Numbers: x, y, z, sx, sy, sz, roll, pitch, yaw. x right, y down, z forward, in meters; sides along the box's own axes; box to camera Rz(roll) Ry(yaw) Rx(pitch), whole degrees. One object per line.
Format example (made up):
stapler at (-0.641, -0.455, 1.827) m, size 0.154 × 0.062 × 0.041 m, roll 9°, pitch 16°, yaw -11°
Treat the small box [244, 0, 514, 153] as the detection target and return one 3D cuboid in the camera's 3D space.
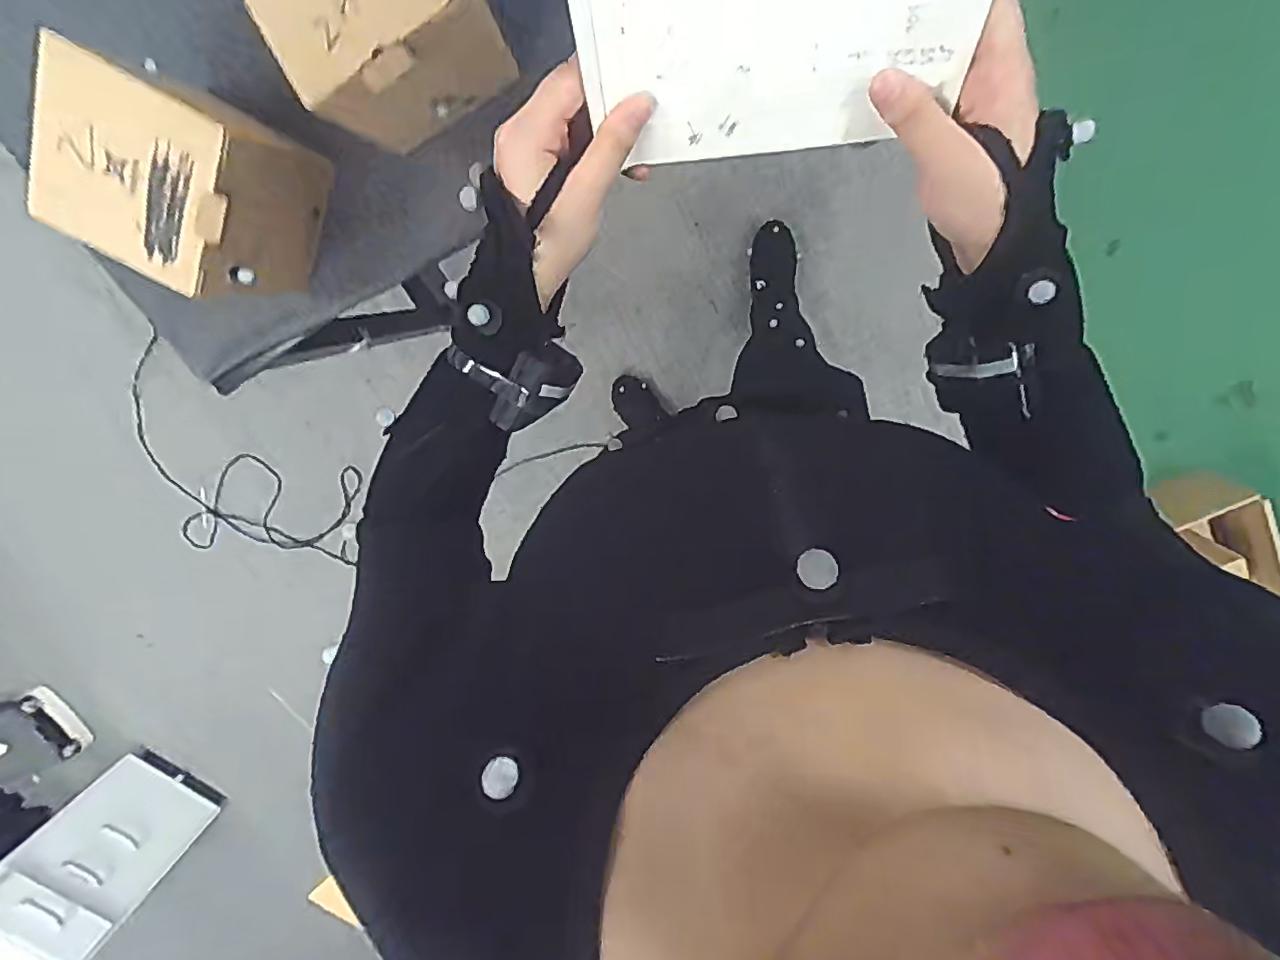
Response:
small box at (-0.250, -0.455, 0.516) m, size 0.168 × 0.176 × 0.179 m, roll -24°, pitch 105°, yaw 14°
